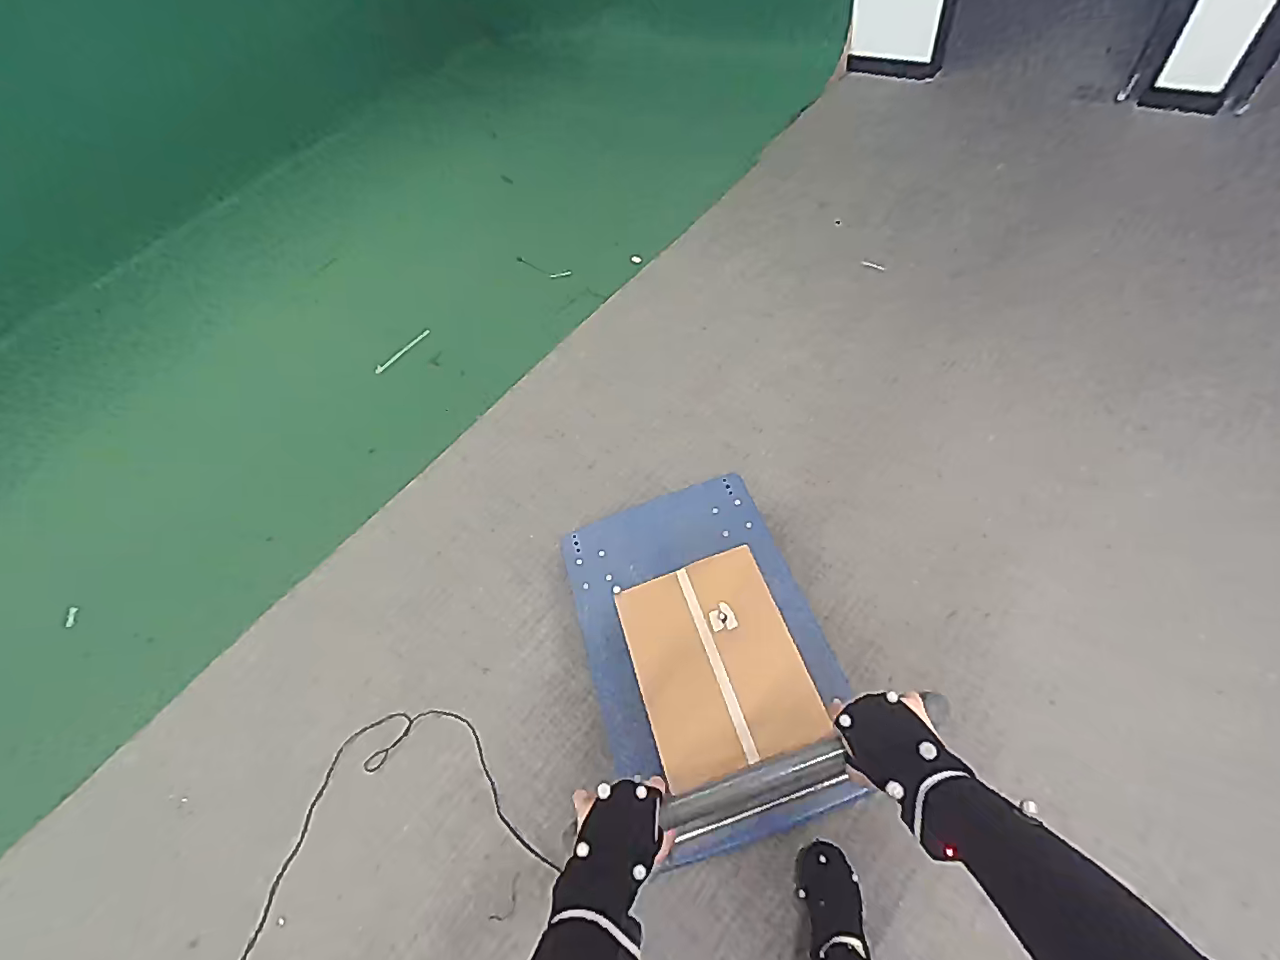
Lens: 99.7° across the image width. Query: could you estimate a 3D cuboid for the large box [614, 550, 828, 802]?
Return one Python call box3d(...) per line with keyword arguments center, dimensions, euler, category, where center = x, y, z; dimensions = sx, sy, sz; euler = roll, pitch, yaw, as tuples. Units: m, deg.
box3d(center=(0.174, 0.438, 1.203), dimensions=(0.320, 0.320, 0.408), euler=(-21, 55, 0), category="large box")
